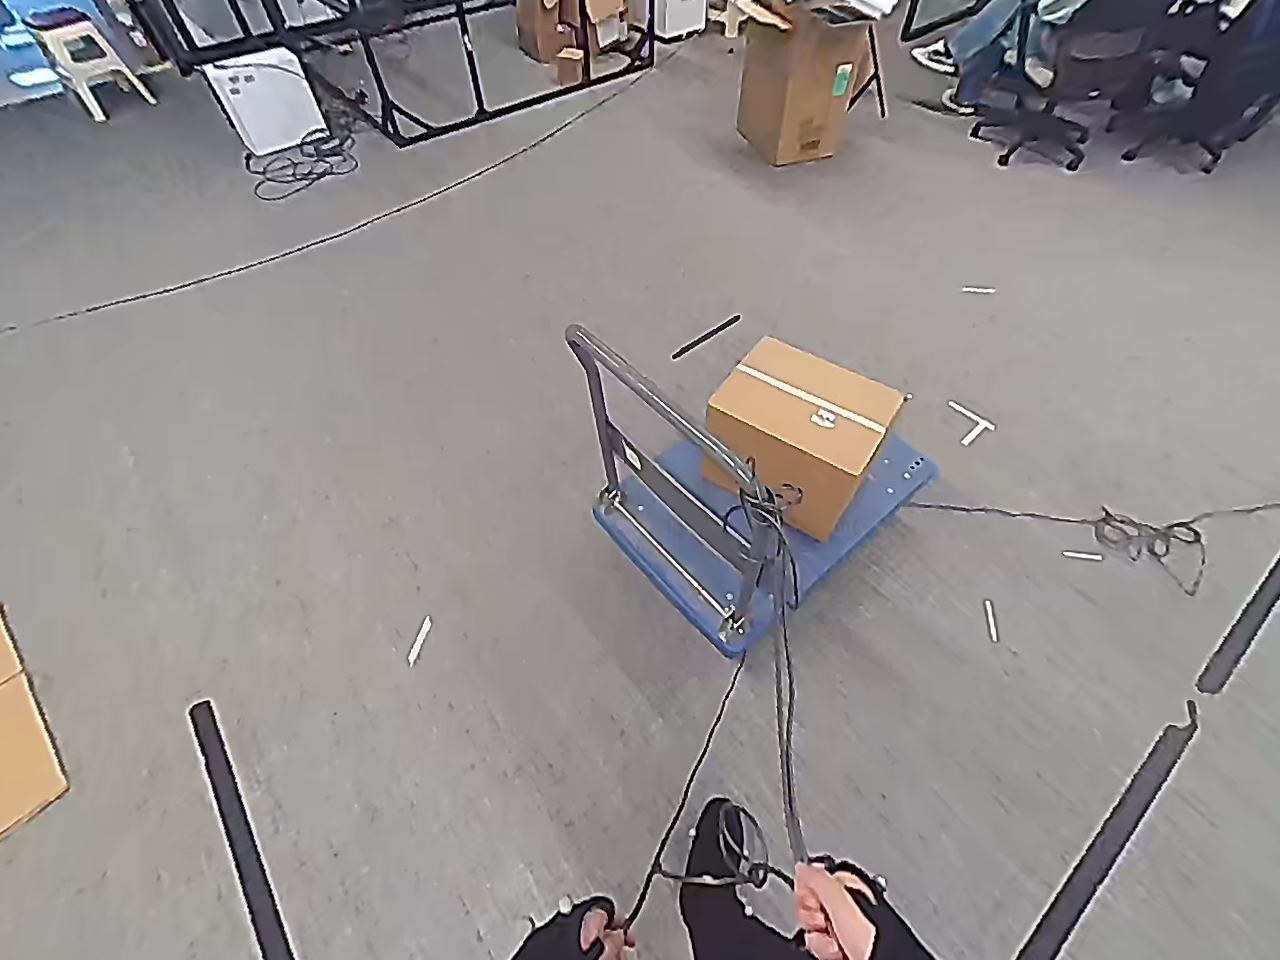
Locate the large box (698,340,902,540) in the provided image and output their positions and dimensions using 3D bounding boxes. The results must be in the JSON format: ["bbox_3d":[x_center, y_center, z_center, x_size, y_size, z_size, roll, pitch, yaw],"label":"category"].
[{"bbox_3d":[0.412,-0.110,1.472,0.408,0.320,0.320,30,61,20],"label":"large box"}]
